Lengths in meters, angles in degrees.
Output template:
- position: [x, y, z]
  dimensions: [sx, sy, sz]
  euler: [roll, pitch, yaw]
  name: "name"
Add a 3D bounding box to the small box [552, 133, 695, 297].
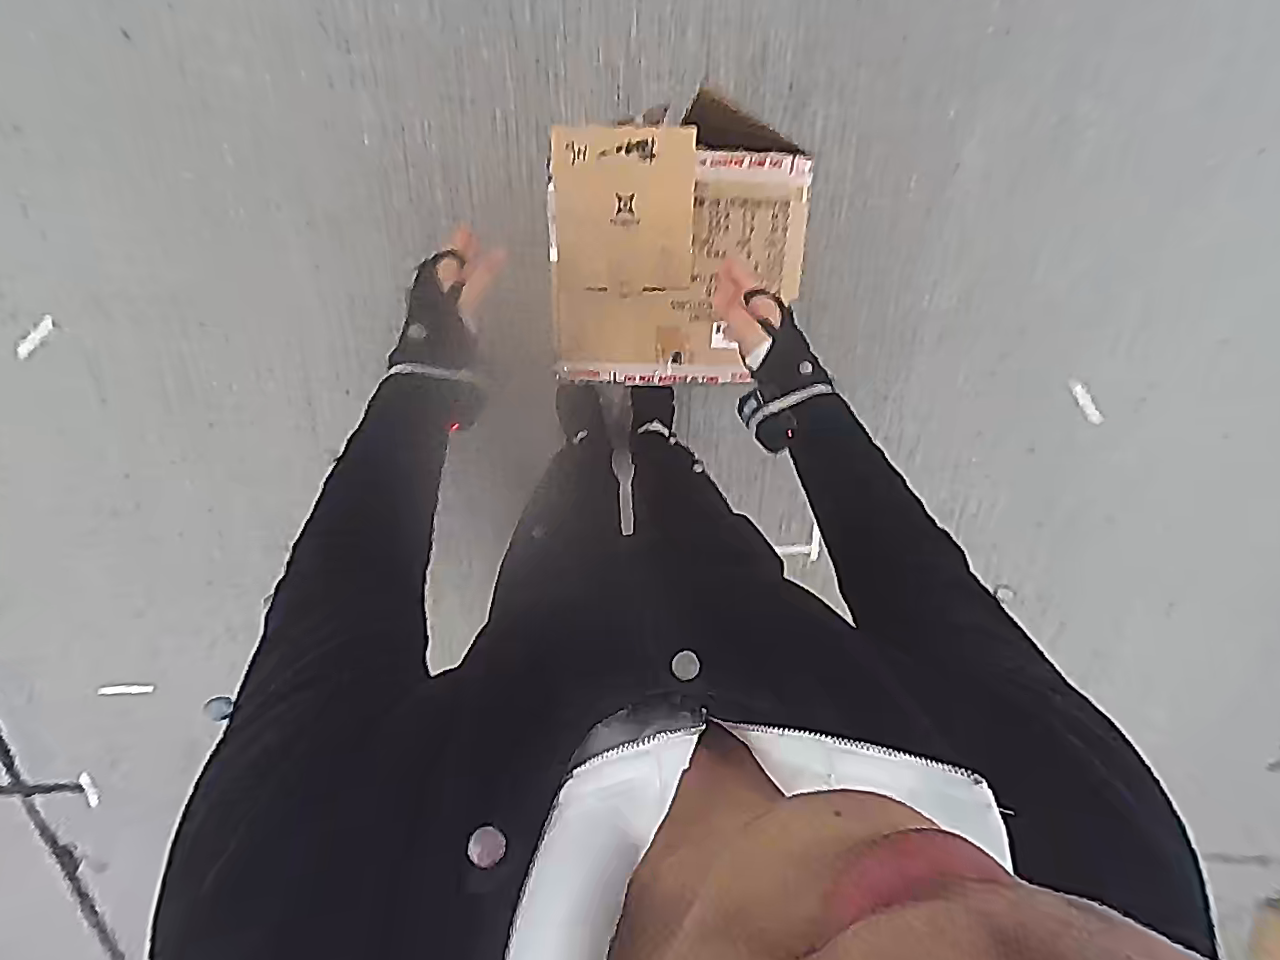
- position: [-0.021, -0.344, 0.717]
  dimensions: [0.168, 0.176, 0.179]
  euler: [-1, 114, -2]
  name: "small box"
